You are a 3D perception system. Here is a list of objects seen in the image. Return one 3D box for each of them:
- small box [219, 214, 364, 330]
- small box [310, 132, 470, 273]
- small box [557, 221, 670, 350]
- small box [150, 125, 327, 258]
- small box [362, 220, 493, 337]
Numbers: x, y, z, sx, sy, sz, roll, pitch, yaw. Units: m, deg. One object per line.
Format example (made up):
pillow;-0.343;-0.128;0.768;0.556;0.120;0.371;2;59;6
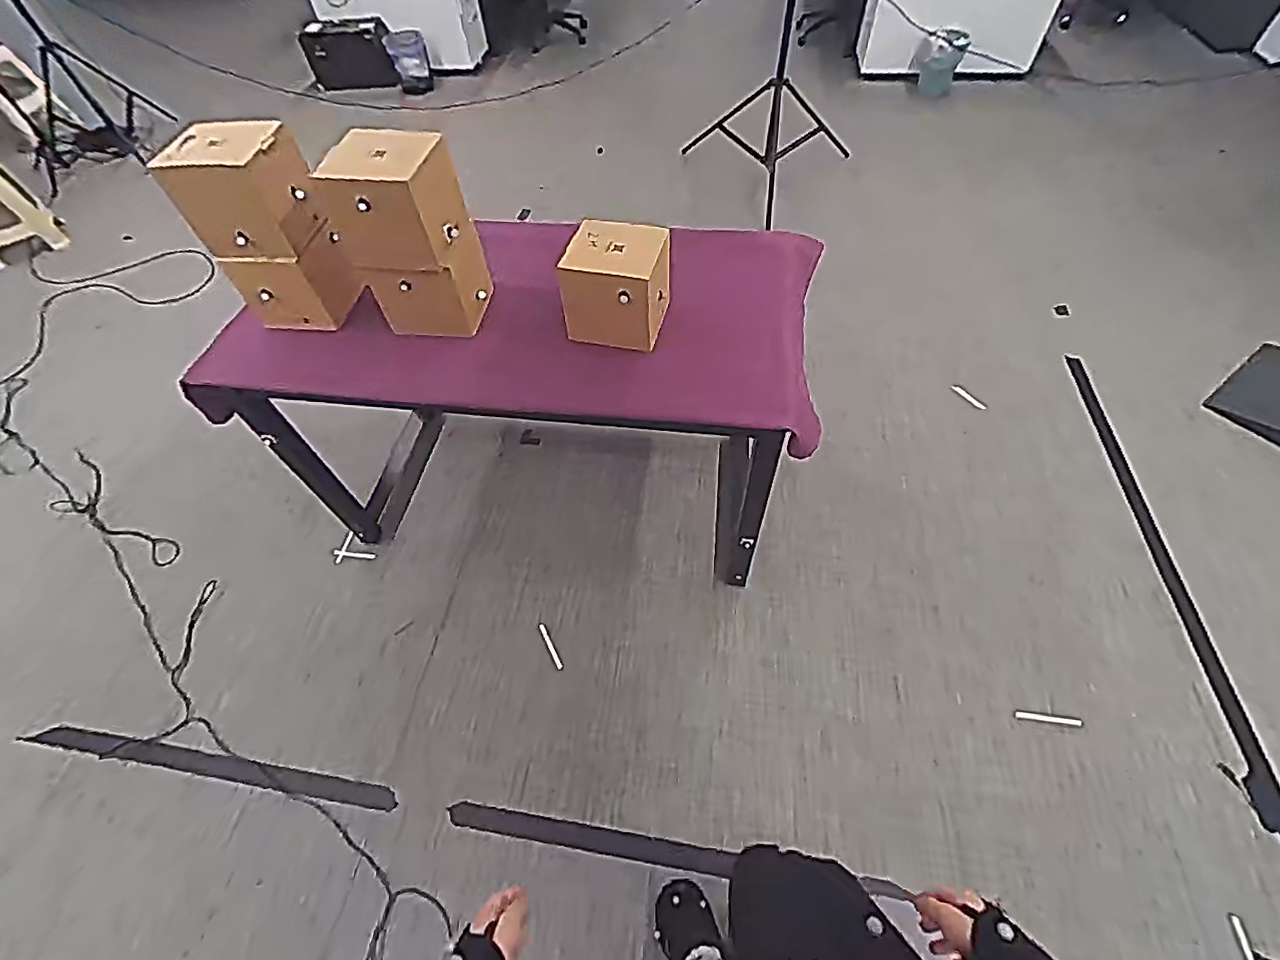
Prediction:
small box;-0.716;-0.433;1.138;0.168;0.176;0.179;2;55;4
small box;-0.432;-0.493;0.968;0.179;0.176;0.168;6;57;5
small box;-0.044;-0.379;1.066;0.179;0.176;0.168;11;56;11
small box;-0.727;-0.533;1.008;0.179;0.176;0.168;1;55;3
small box;-0.423;-0.411;1.108;0.179;0.176;0.168;4;56;4
